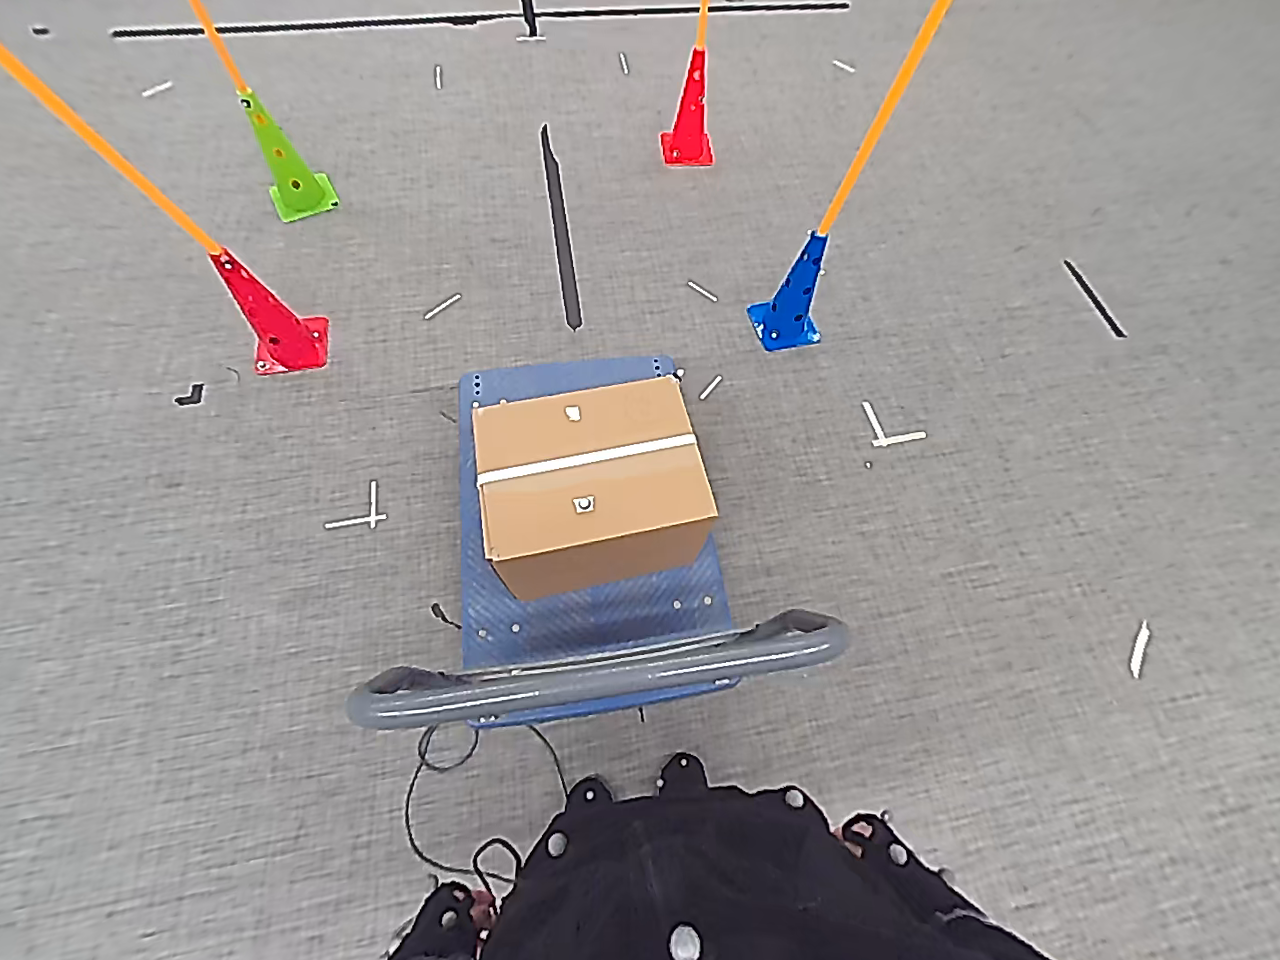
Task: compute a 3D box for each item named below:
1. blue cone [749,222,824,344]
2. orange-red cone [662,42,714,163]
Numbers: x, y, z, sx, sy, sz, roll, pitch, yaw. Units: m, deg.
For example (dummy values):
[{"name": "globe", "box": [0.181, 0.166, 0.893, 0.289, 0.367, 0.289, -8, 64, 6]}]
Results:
[{"name": "blue cone", "box": [0.483, -0.602, 1.642, 0.193, 0.380, 0.192, -11, 65, -9]}, {"name": "orange-red cone", "box": [0.200, -1.397, 1.987, 0.199, 0.360, 0.198, -1, 65, -5]}]
